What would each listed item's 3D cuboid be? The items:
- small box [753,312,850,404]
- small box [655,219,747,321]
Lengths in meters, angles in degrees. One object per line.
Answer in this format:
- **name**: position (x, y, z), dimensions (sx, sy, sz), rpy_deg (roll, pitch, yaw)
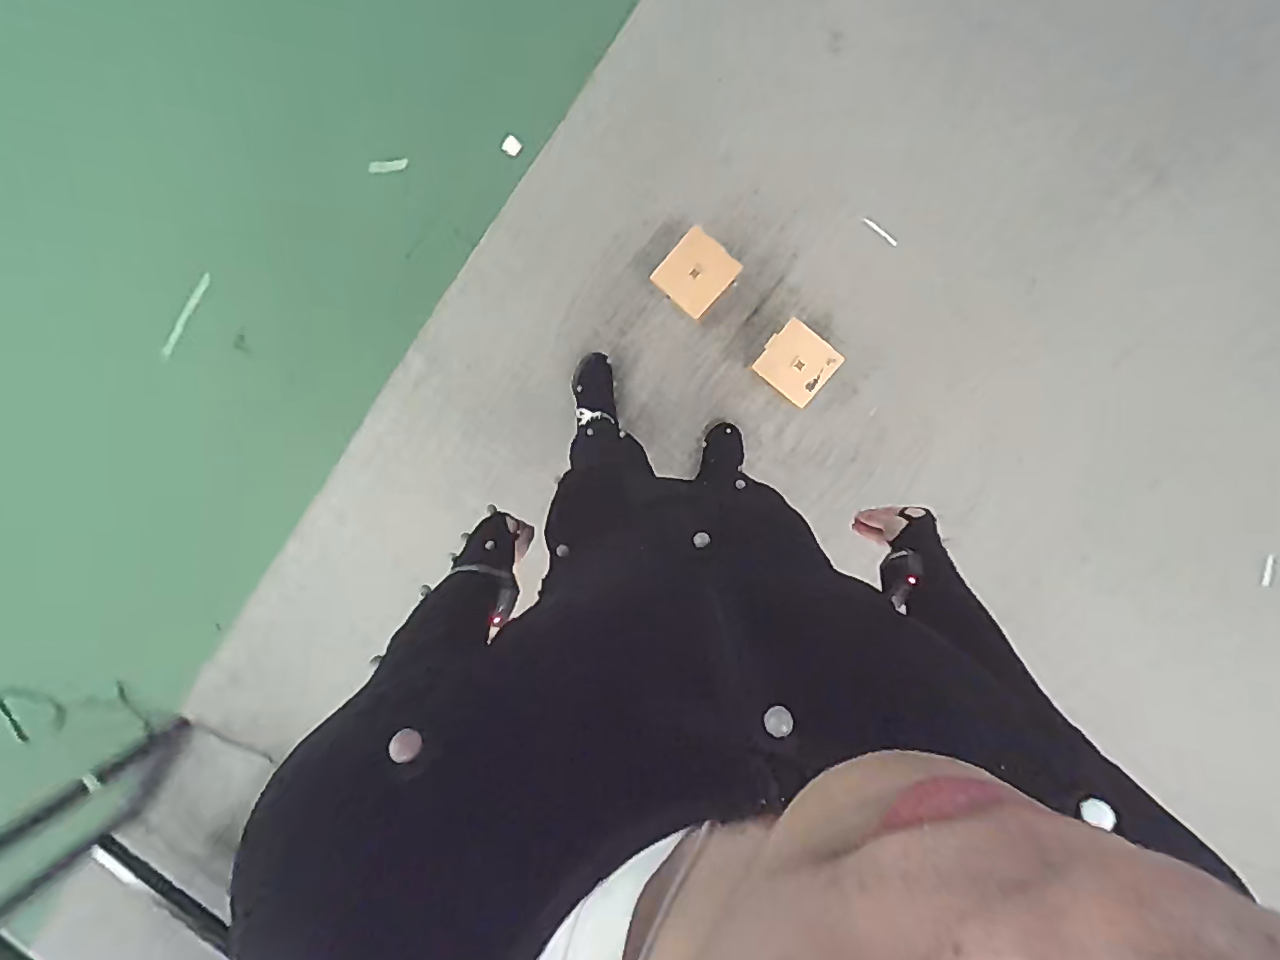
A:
- **small box**: position (0.419, -0.317, 1.442), dimensions (0.179, 0.176, 0.168), rpy_deg (40, 102, 0)
- **small box**: position (0.164, -0.547, 1.438), dimensions (0.168, 0.176, 0.179), rpy_deg (43, 101, -1)
